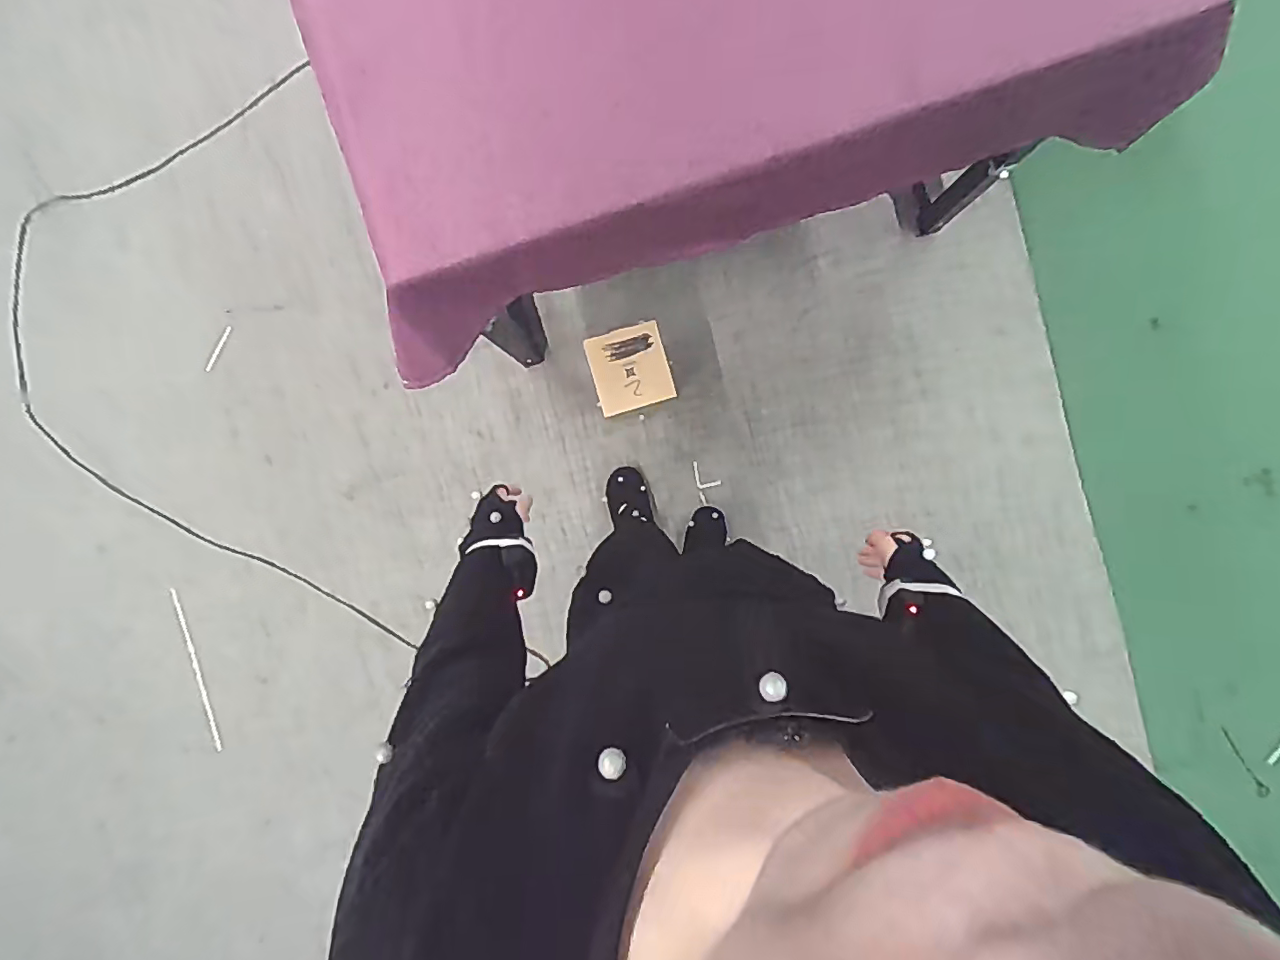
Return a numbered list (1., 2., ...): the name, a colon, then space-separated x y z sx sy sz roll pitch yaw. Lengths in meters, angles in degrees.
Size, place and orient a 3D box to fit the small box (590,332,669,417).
1. small box: -0.022 -0.265 1.410 0.168 0.176 0.179 -14 91 3
